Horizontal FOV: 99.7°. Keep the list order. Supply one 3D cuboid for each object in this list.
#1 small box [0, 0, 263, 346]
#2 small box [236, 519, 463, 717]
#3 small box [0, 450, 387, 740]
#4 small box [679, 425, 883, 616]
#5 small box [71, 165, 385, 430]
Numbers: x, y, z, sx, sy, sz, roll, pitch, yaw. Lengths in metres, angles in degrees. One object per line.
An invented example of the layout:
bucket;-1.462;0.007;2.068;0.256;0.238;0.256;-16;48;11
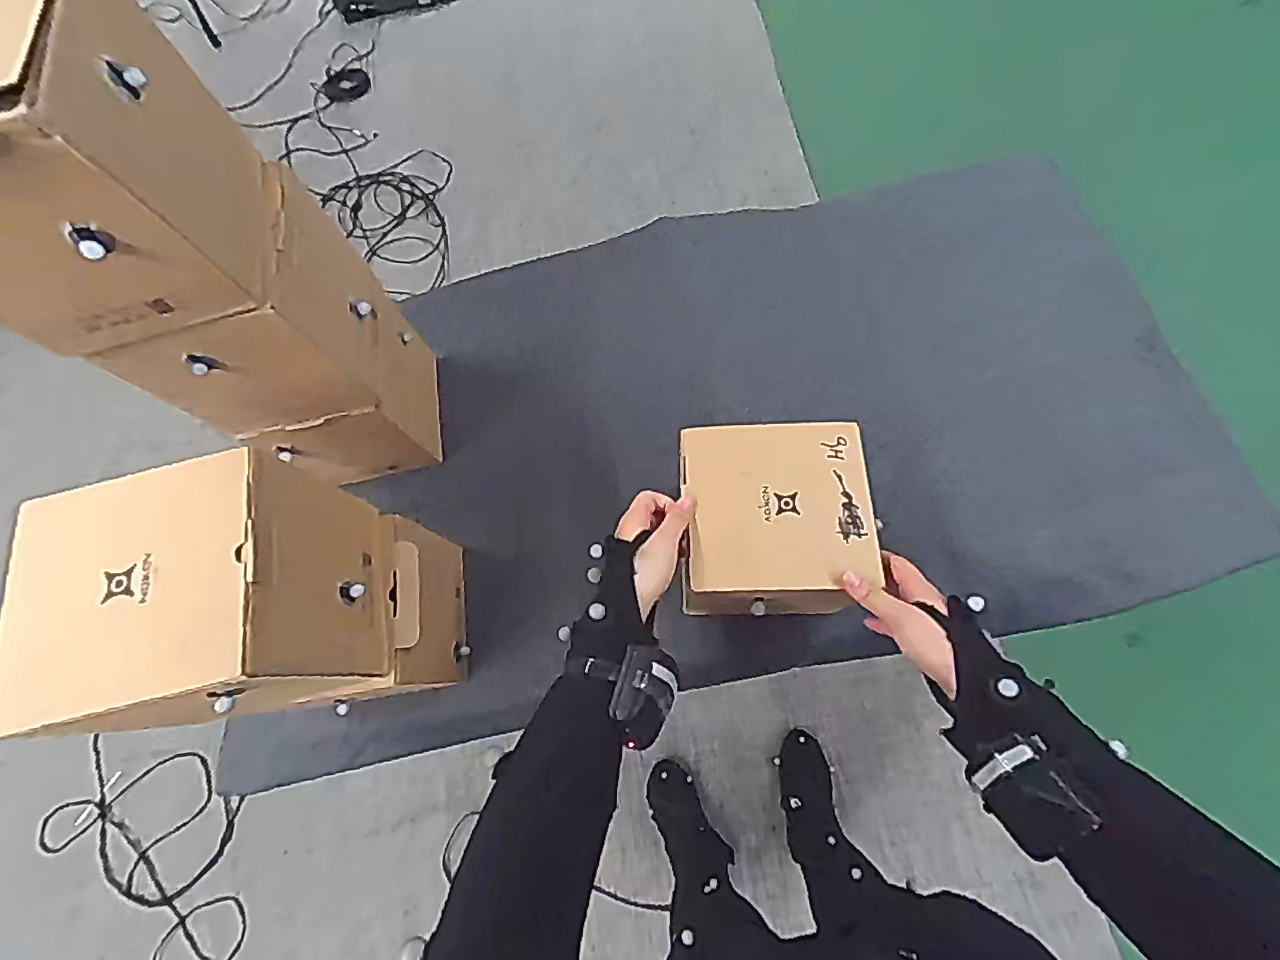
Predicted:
small box;-0.403;-0.216;0.382;0.168;0.176;0.179;-15;69;-1
small box;-0.305;0.153;0.592;0.179;0.176;0.168;-11;70;3
small box;-0.336;0.099;0.441;0.179;0.176;0.168;-15;70;0
small box;0.134;0.053;0.579;0.179;0.176;0.168;-2;70;5
small box;-0.380;-0.165;0.535;0.179;0.176;0.168;-11;71;1
